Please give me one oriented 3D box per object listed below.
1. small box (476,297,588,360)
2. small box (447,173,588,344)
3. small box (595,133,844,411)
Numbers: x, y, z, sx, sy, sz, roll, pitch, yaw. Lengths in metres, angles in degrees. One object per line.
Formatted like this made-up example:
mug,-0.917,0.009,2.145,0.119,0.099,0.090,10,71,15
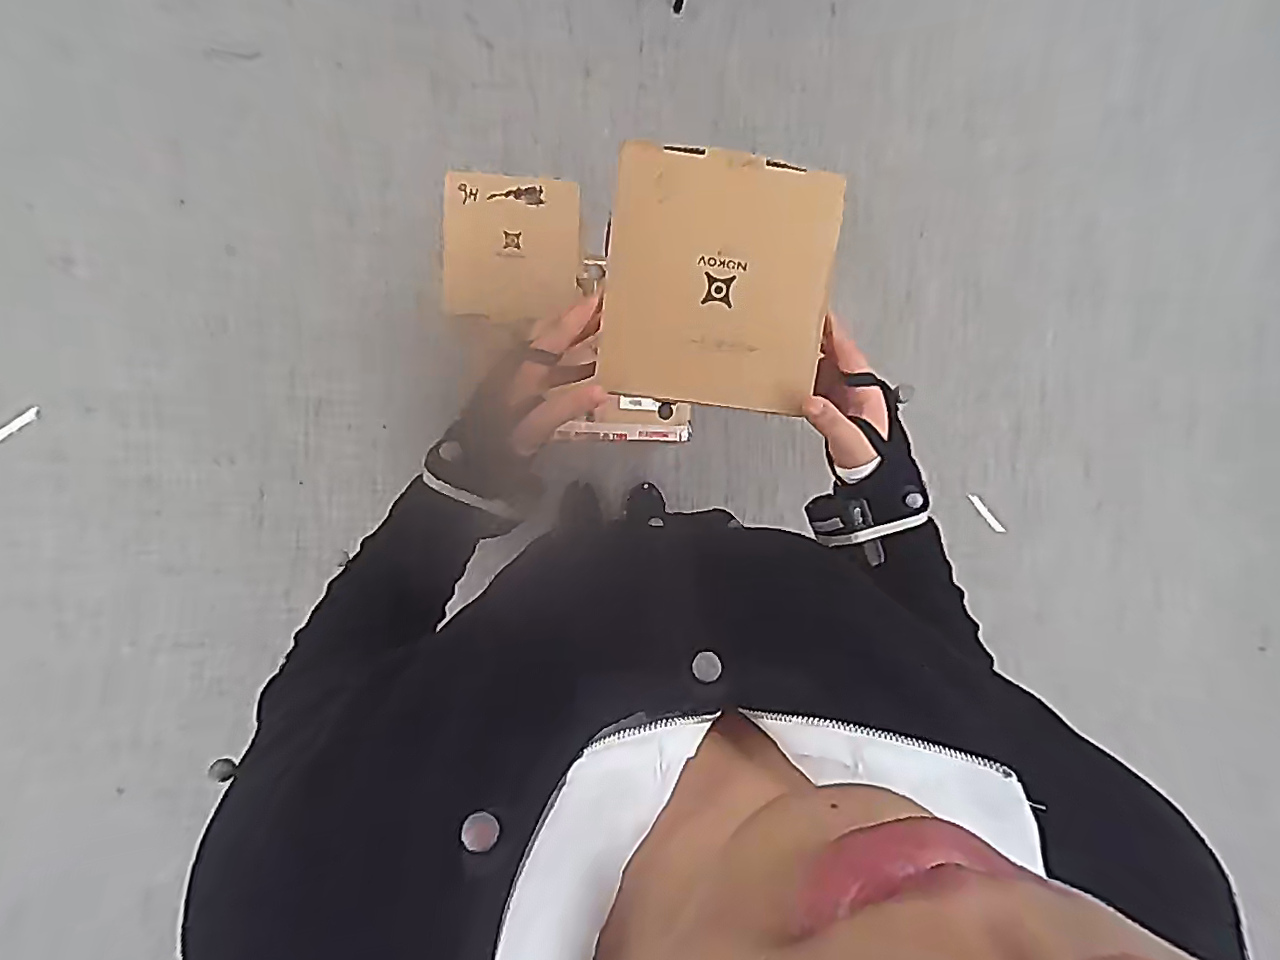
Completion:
small box,-0.175,-0.308,0.912,0.168,0.176,0.179,1,93,-3
small box,-0.159,-0.292,0.749,0.168,0.176,0.179,2,93,-4
small box,0.051,-0.159,0.471,0.168,0.176,0.179,6,99,-5
